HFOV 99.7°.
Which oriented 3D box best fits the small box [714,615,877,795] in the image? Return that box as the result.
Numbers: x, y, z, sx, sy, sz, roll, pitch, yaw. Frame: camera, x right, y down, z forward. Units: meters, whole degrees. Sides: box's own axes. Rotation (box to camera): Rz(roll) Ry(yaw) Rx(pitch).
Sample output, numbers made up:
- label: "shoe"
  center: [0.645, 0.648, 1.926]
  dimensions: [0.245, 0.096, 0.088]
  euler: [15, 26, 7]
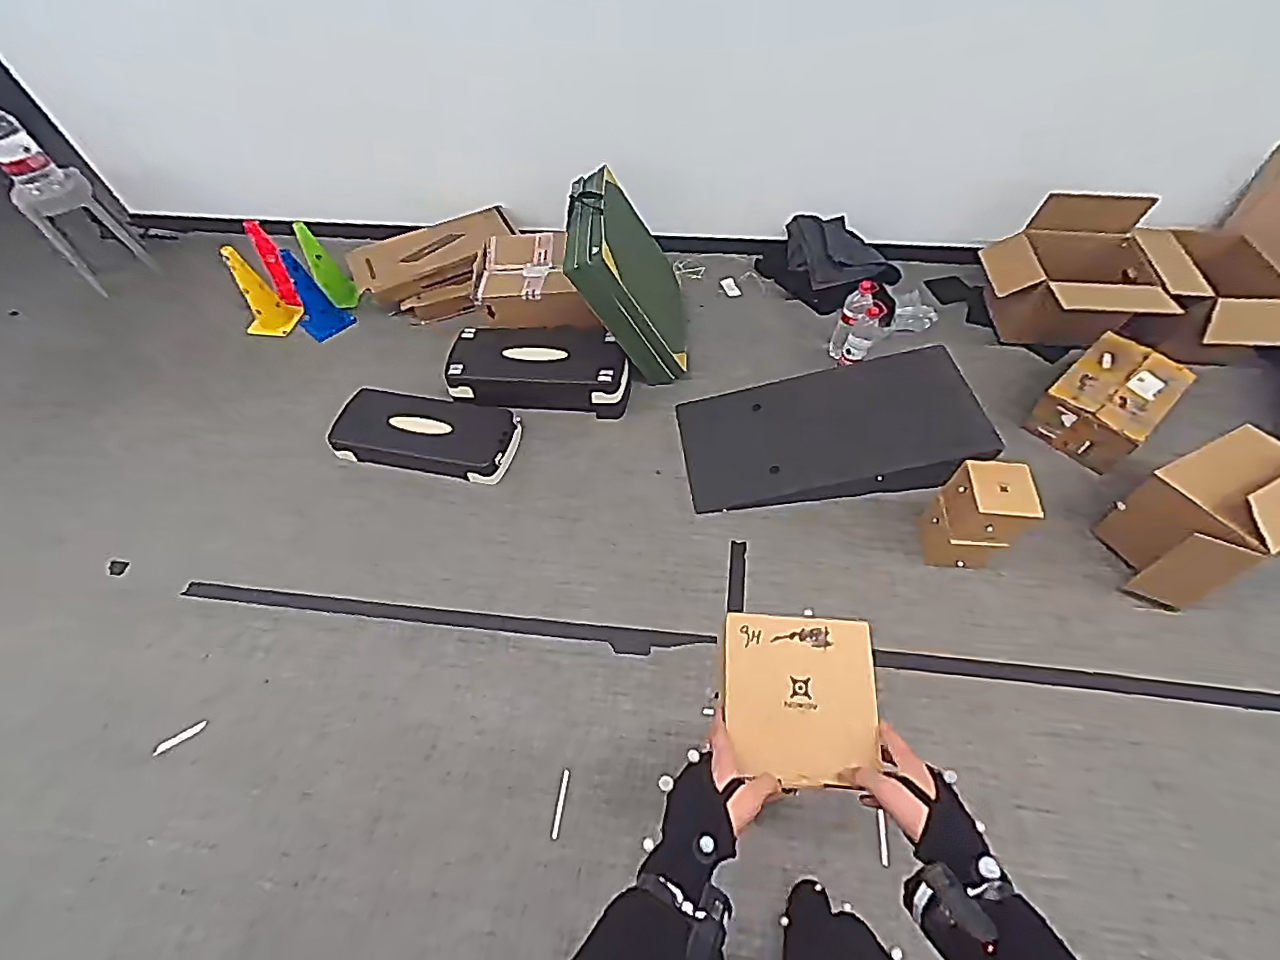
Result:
- label: "small box"
  center: [0.181, 0.275, 0.675]
  dimensions: [0.168, 0.176, 0.179]
  euler: [3, 66, 6]
